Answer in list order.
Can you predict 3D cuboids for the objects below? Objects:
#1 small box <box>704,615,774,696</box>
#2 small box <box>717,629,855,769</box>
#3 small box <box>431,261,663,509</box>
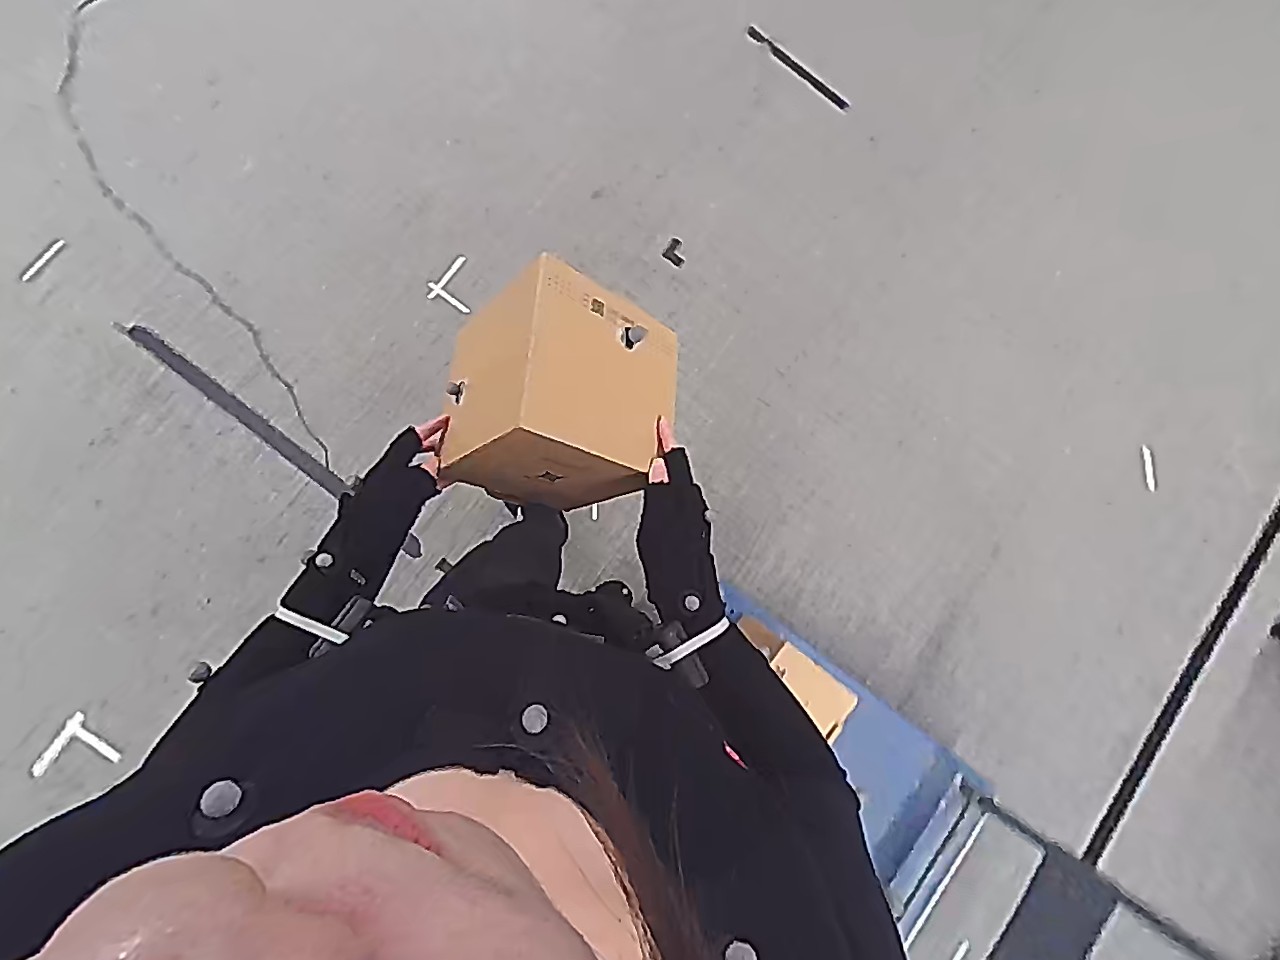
[{"bbox_3d":[0.265,0.437,1.240,0.168,0.176,0.179,42,83,0],"label":"small box"},{"bbox_3d":[0.281,0.421,1.077,0.179,0.176,0.168,40,84,-1],"label":"small box"},{"bbox_3d":[-0.087,-0.080,0.548,0.168,0.179,0.176,17,67,-39],"label":"small box"}]
